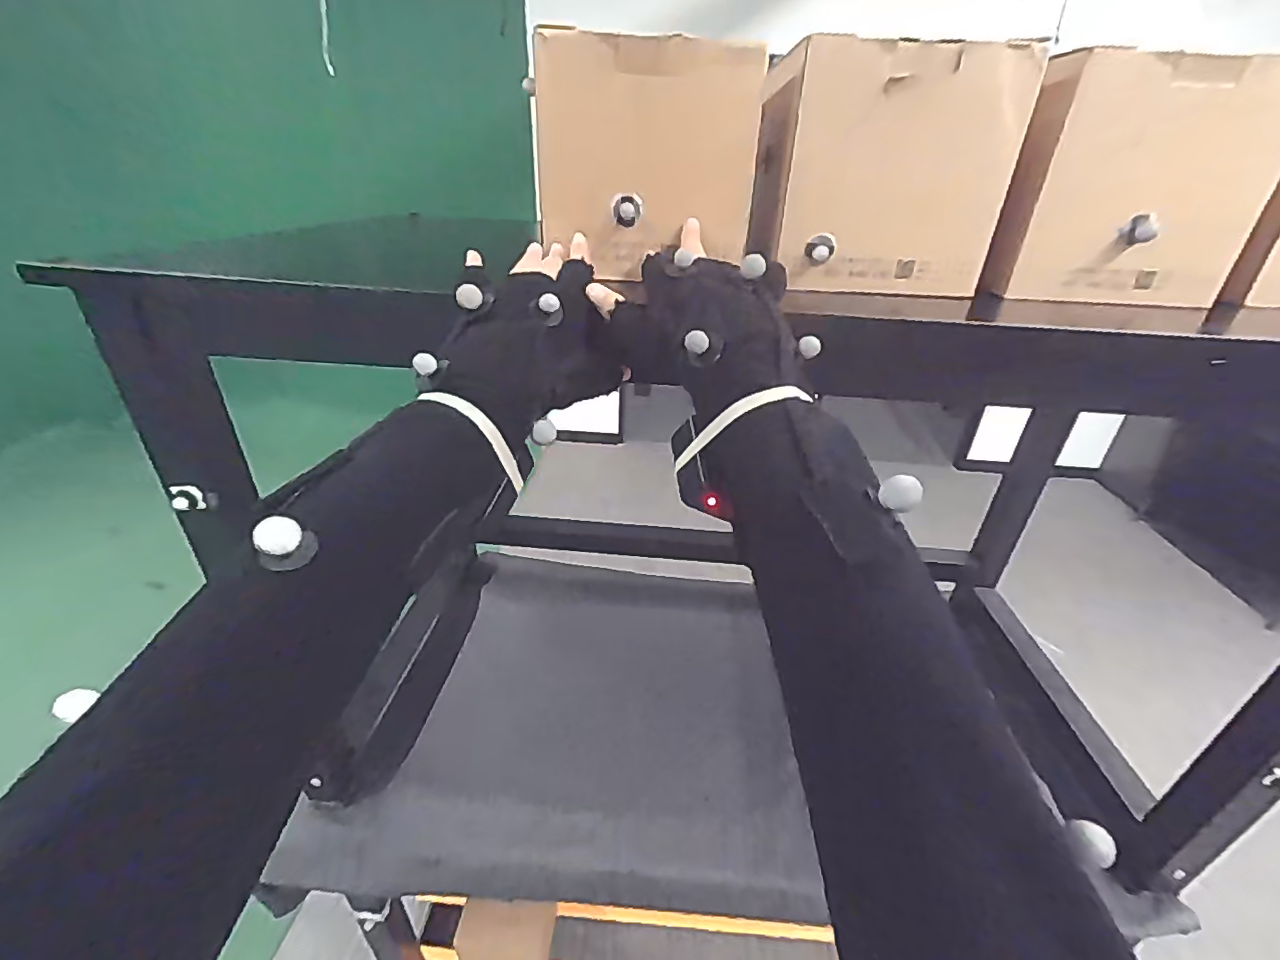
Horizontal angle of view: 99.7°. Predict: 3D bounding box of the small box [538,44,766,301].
[{"bbox_3d":[0.005,-0.271,0.493,0.168,0.176,0.179,1,30,-1],"label":"small box"}]
